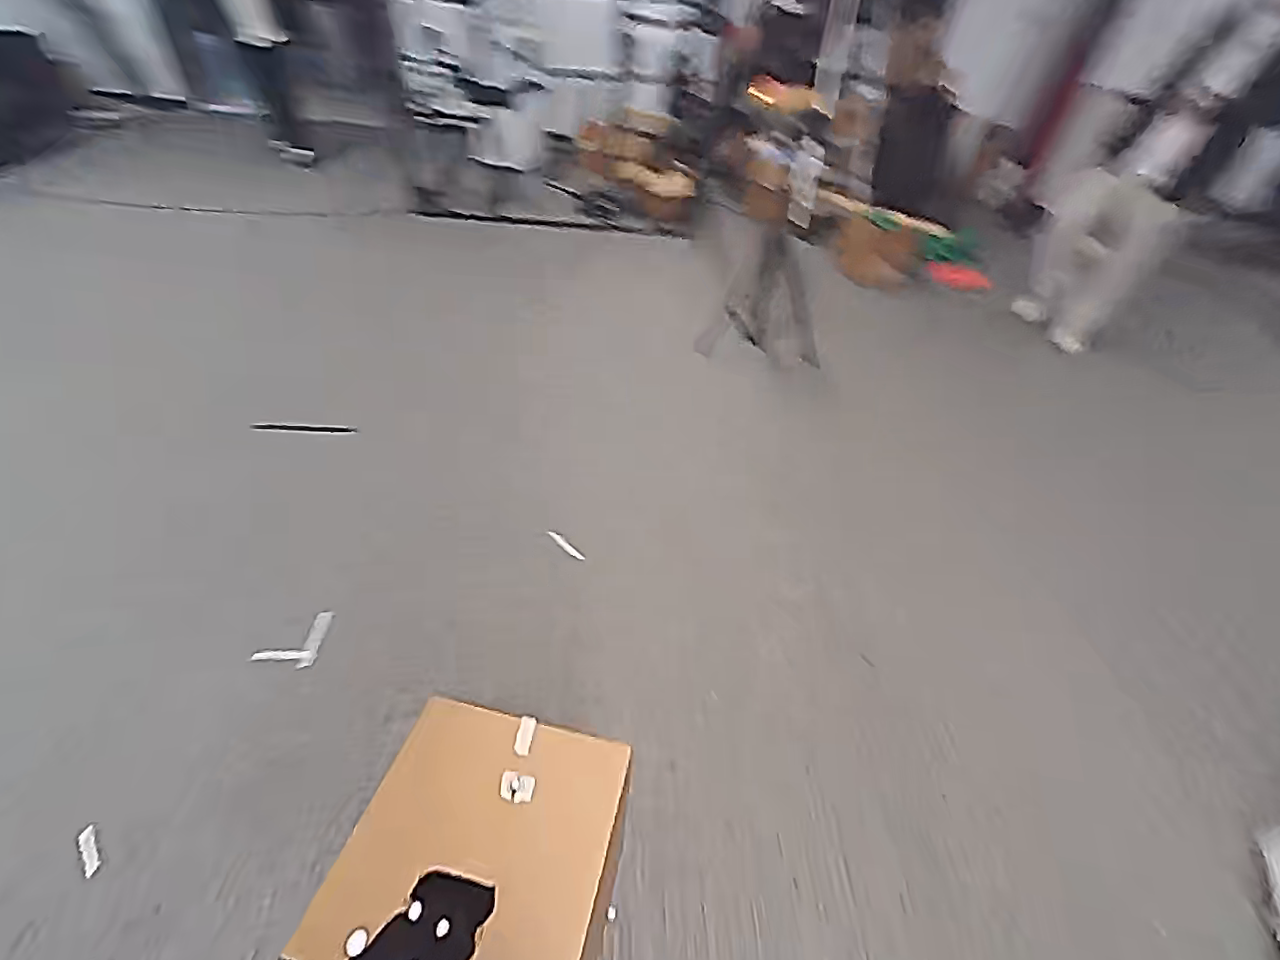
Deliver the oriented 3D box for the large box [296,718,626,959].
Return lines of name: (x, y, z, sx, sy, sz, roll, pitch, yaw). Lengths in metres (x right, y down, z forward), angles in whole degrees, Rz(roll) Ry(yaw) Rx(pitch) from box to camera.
large box: (-0.199, 0.609, 0.782, 0.320, 0.408, 0.320, 9, 39, 9)
